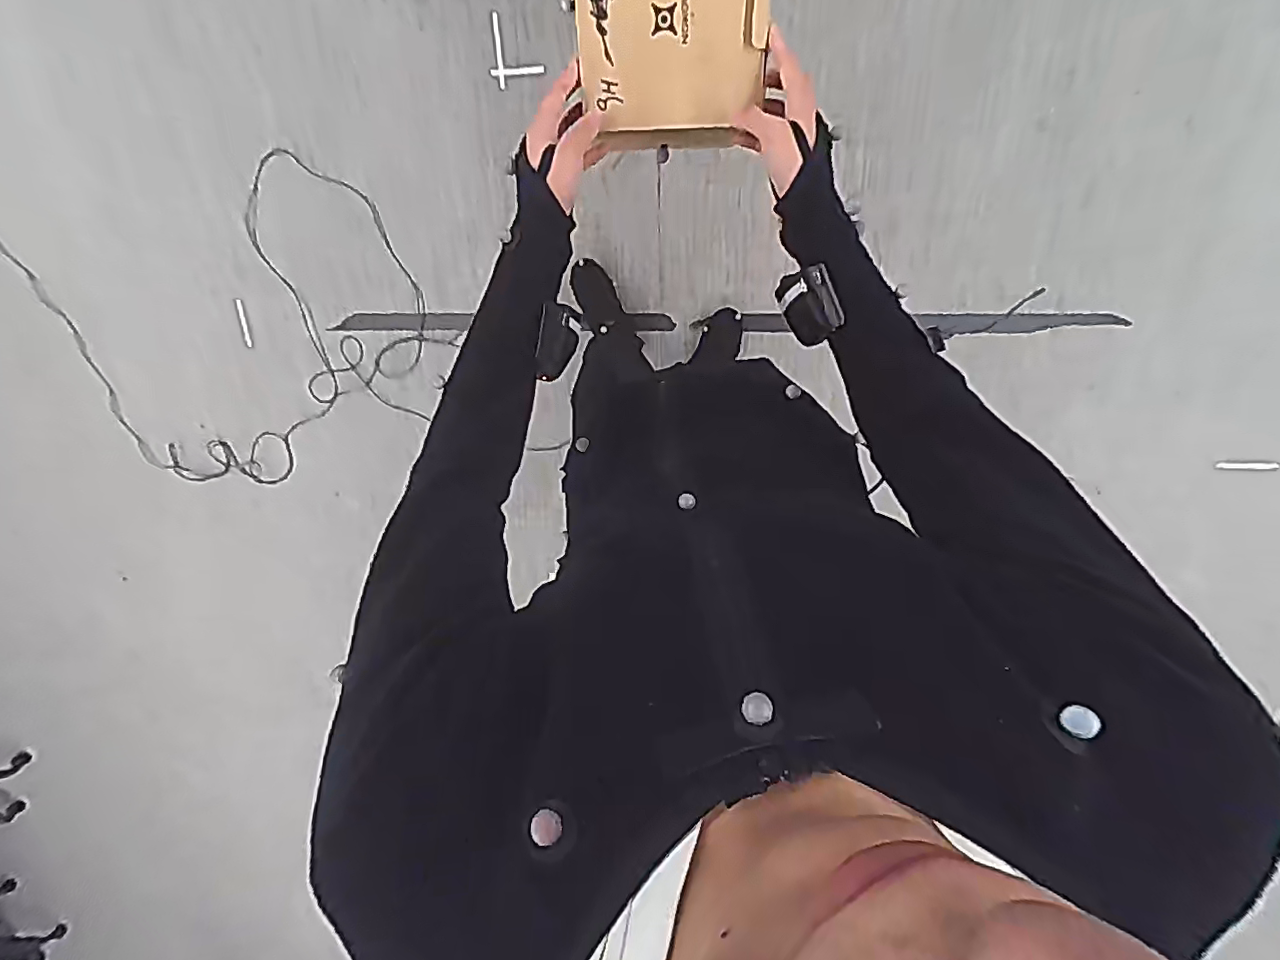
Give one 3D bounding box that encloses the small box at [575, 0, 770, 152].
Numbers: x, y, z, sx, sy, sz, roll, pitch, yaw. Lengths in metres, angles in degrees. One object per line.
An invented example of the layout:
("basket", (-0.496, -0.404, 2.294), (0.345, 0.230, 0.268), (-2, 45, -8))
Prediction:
("small box", (0.024, -0.443, 0.554), (0.179, 0.176, 0.168), (-3, 115, -3))
